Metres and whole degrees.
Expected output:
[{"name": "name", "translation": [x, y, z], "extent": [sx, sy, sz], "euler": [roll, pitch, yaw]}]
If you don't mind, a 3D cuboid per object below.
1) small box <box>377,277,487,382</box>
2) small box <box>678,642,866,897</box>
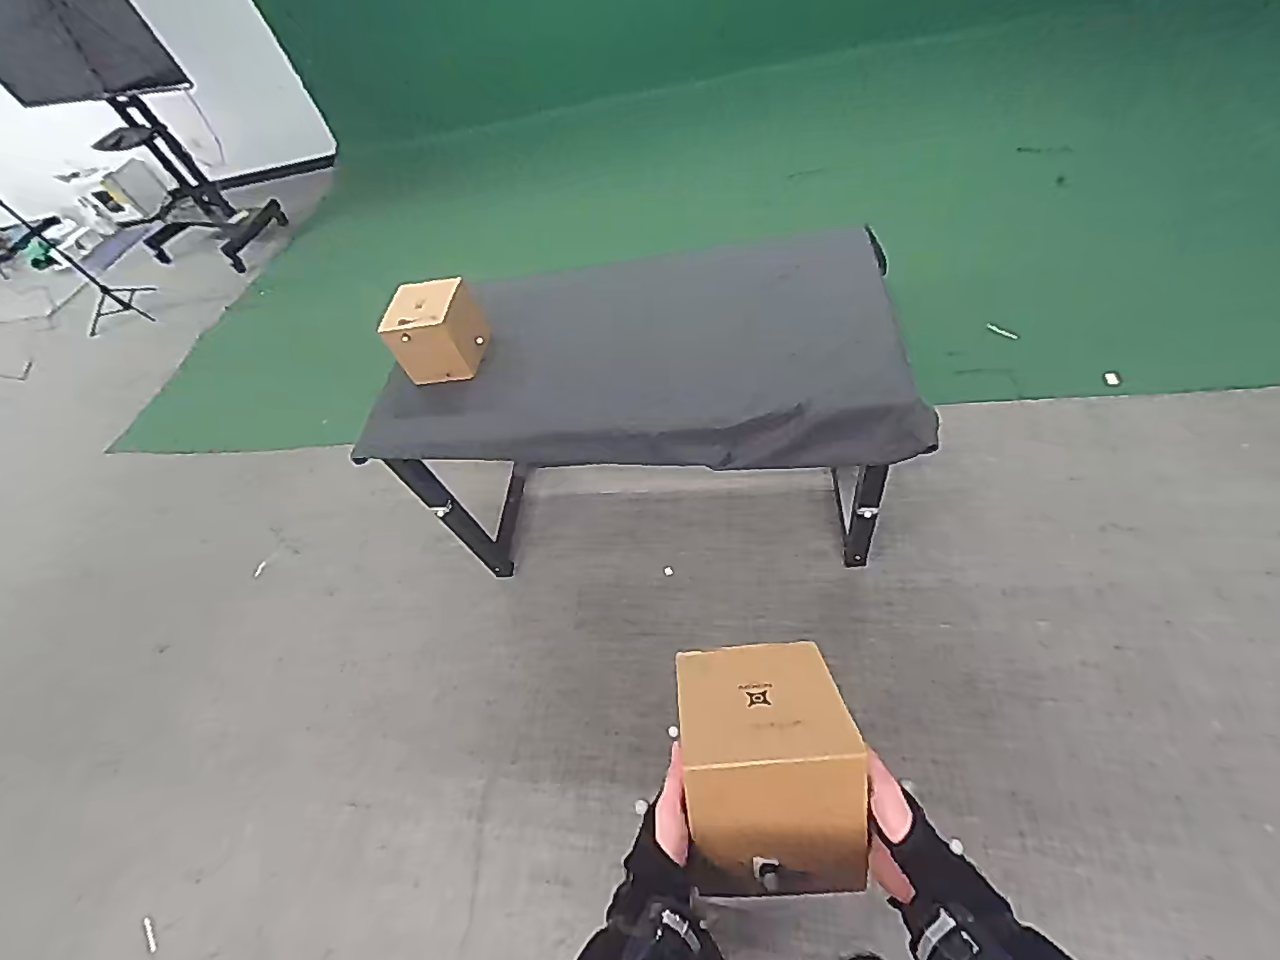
[{"name": "small box", "translation": [-0.492, -0.362, 1.310], "extent": [0.168, 0.176, 0.179], "euler": [-4, 53, 12]}, {"name": "small box", "translation": [0.129, 0.300, 0.581], "extent": [0.168, 0.176, 0.179], "euler": [-6, 18, 4]}]
